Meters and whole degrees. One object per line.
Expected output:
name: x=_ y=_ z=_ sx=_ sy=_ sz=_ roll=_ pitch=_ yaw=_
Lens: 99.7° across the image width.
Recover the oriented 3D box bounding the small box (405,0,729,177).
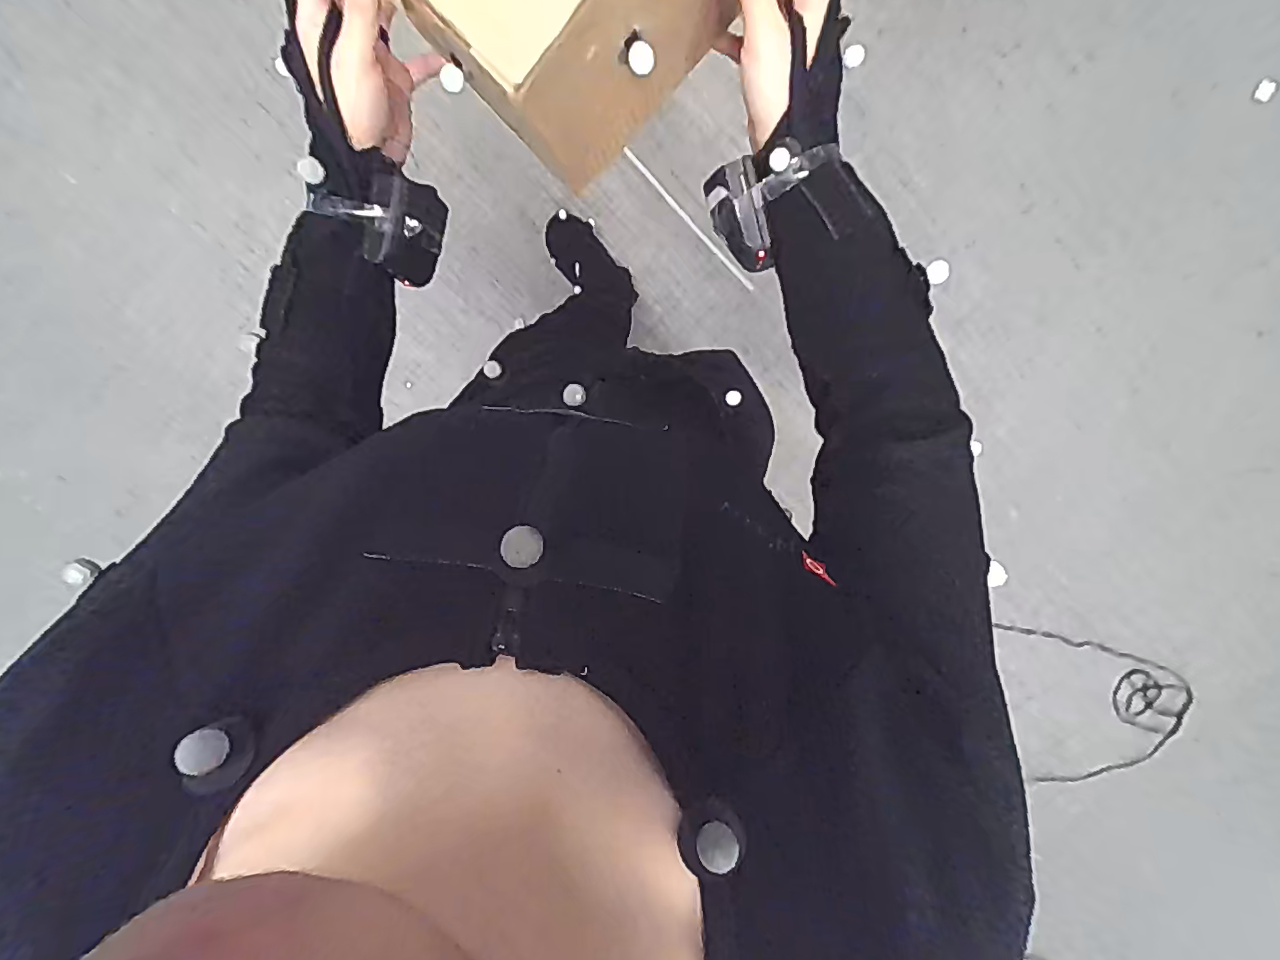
small box: x=-0.051 y=-0.321 z=0.316 sx=0.168 sy=0.176 sz=0.179 roll=44 pitch=103 yaw=-5
